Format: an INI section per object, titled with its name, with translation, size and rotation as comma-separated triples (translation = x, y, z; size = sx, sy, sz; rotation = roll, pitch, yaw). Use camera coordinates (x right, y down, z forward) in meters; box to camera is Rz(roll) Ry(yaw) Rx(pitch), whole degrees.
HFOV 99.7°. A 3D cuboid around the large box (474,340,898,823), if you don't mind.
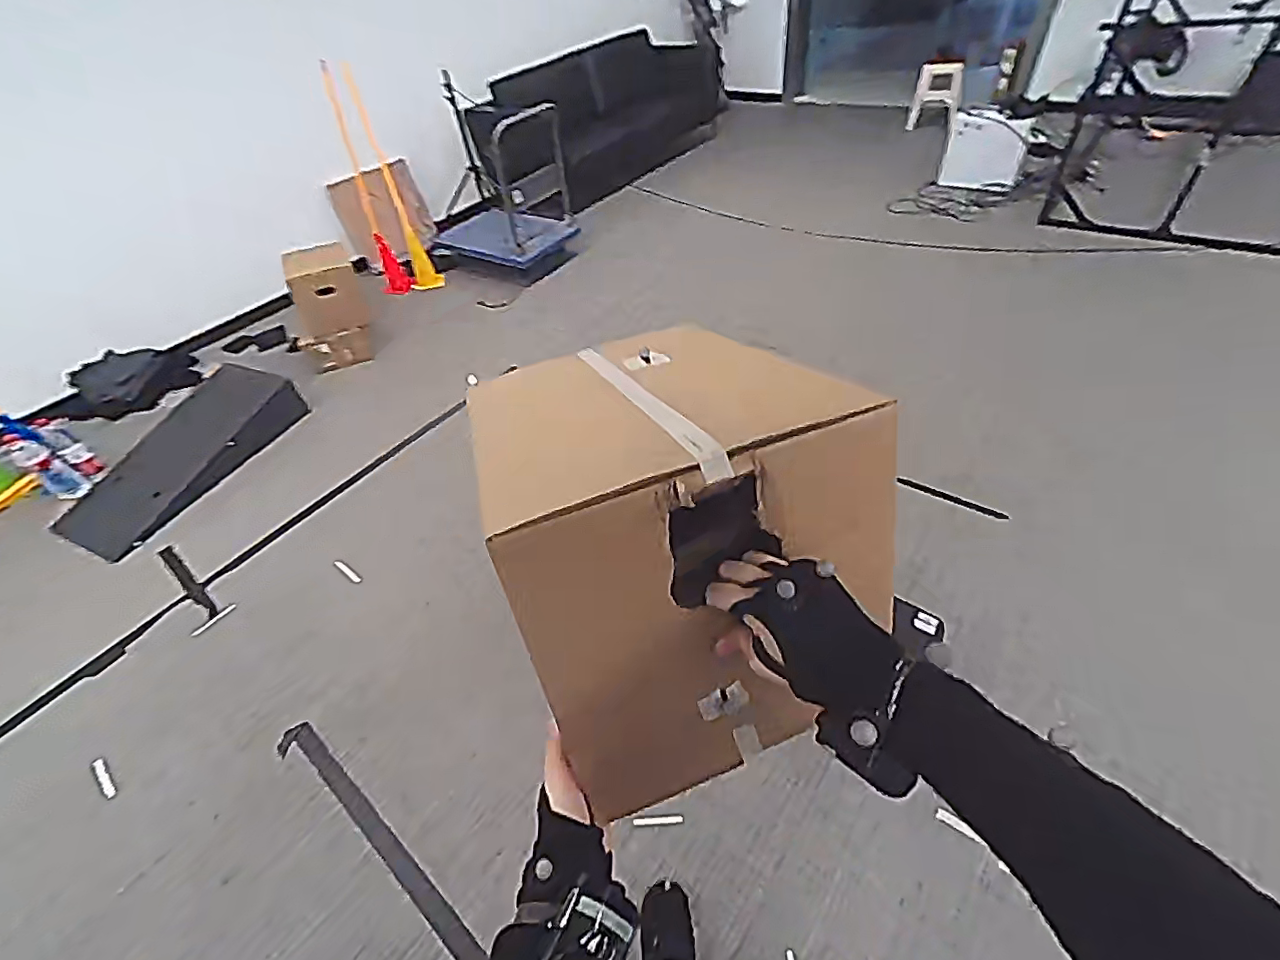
[large box]
translation = 0.023, 0.056, 0.605
size = 0.320, 0.320, 0.408
rotation = -17, 25, -12
